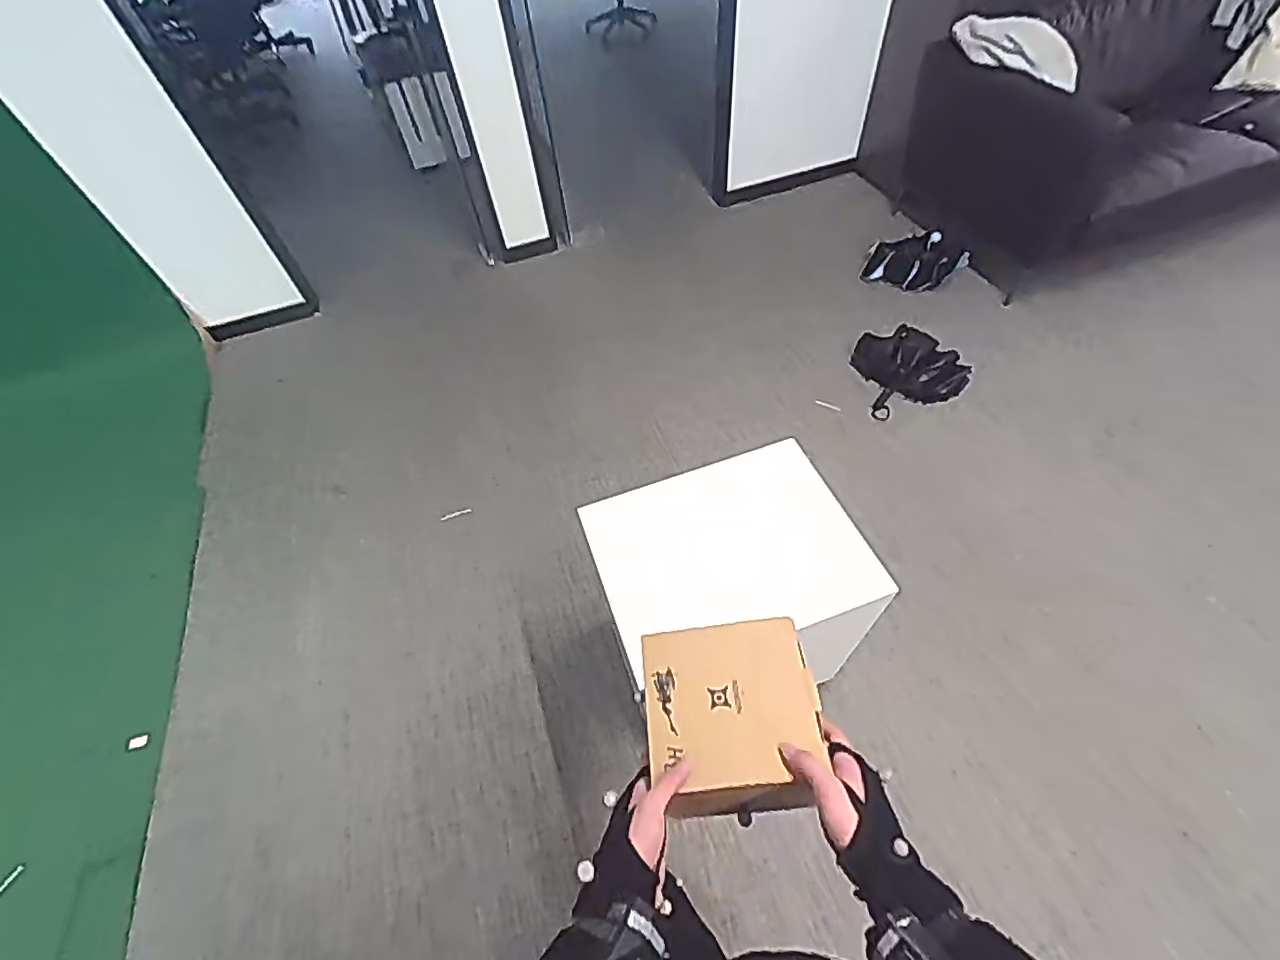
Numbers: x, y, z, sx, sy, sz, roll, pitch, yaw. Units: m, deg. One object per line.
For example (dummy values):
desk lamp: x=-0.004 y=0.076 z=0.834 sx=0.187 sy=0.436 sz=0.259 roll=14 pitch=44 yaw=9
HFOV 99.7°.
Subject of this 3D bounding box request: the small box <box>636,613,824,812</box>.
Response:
small box: x=0.093 y=0.271 z=0.621 sx=0.179 sy=0.176 sz=0.168 roll=-7 pitch=49 yaw=4
